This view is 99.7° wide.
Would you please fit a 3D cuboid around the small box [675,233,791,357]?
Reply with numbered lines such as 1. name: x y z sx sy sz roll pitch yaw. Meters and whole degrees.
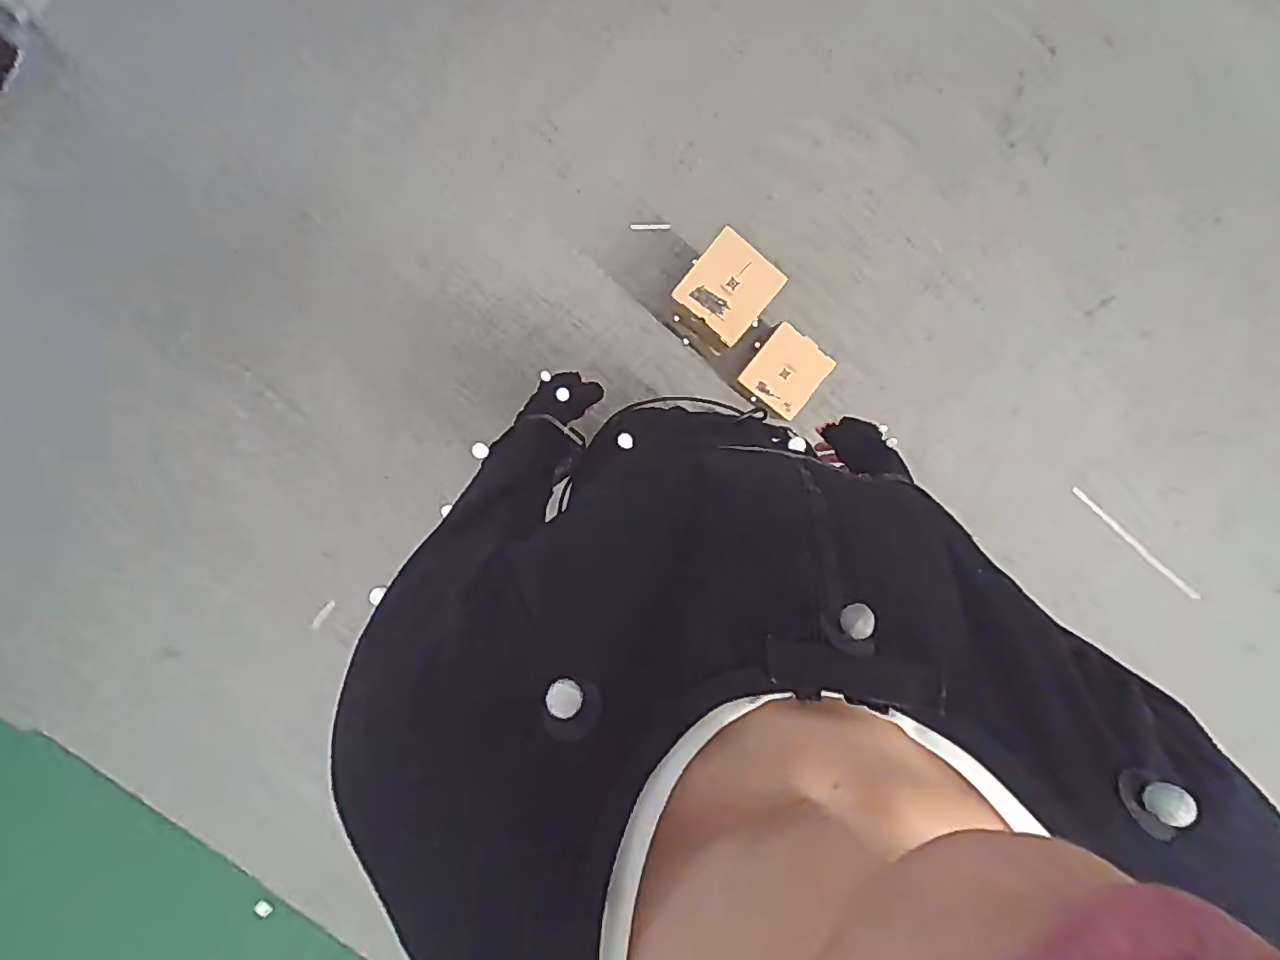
1. small box: 0.190 -0.383 1.161 0.168 0.176 0.179 39 97 -4
